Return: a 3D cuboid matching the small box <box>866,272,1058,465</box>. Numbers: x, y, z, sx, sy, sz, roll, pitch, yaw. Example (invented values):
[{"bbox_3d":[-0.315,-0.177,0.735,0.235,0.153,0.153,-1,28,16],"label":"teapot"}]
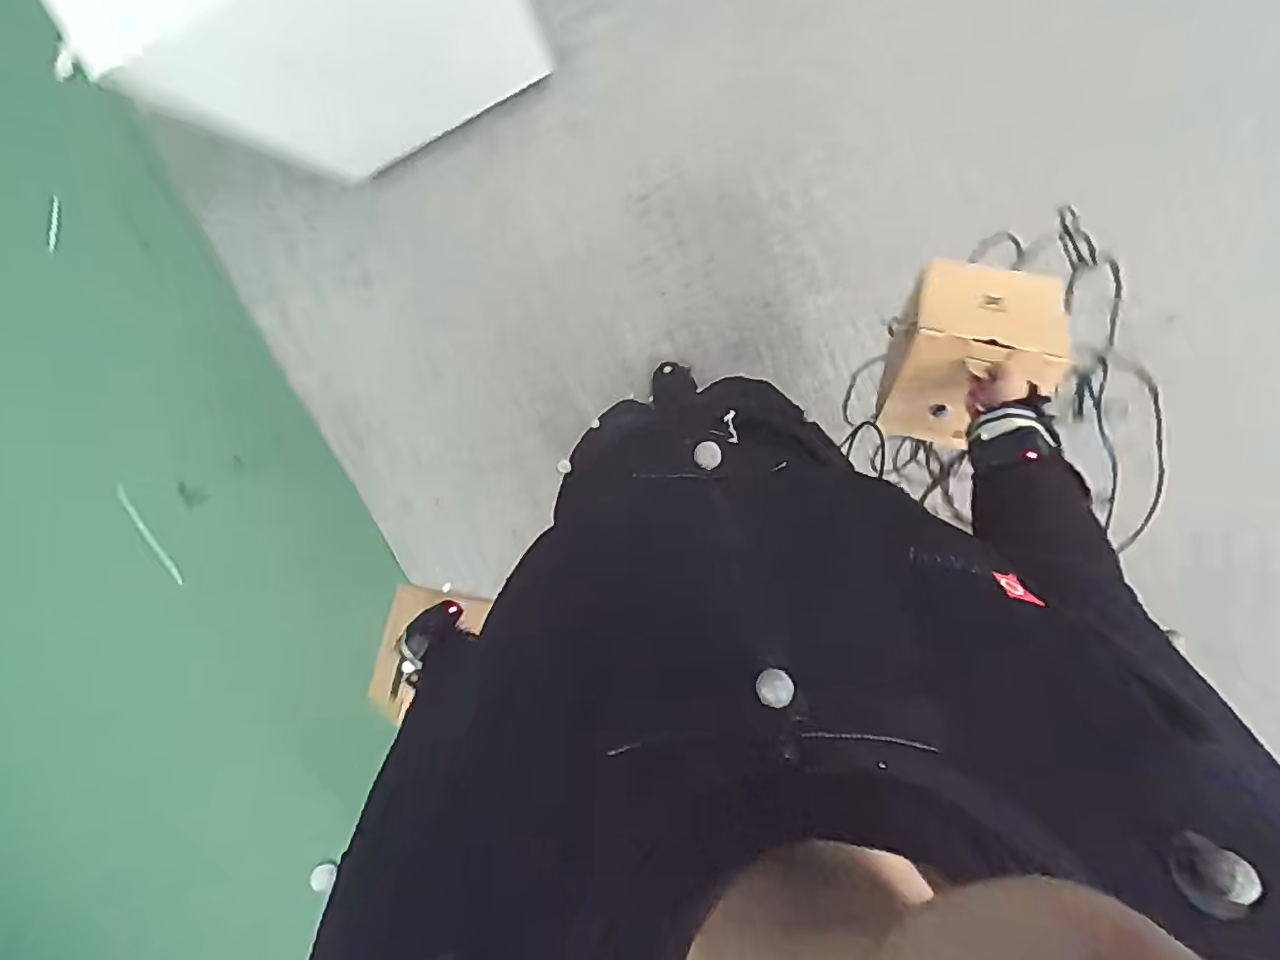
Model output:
[{"bbox_3d":[0.422,-0.151,0.737,0.168,0.179,0.176,16,142,12],"label":"small box"}]
